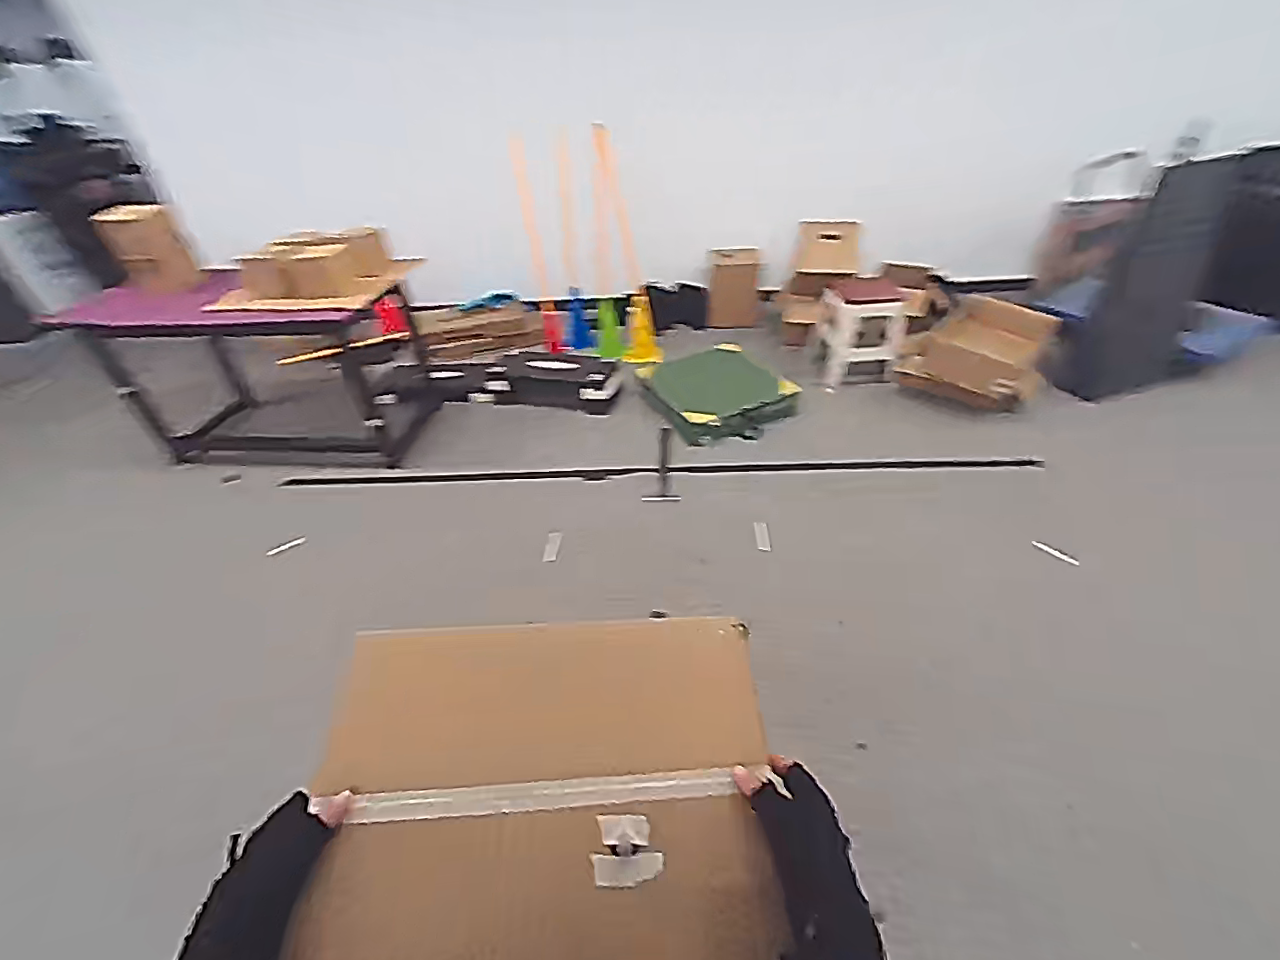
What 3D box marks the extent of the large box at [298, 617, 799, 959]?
[{"bbox_3d":[-0.085,0.367,0.621,0.408,0.320,0.320,0,56,-4],"label":"large box"}]
